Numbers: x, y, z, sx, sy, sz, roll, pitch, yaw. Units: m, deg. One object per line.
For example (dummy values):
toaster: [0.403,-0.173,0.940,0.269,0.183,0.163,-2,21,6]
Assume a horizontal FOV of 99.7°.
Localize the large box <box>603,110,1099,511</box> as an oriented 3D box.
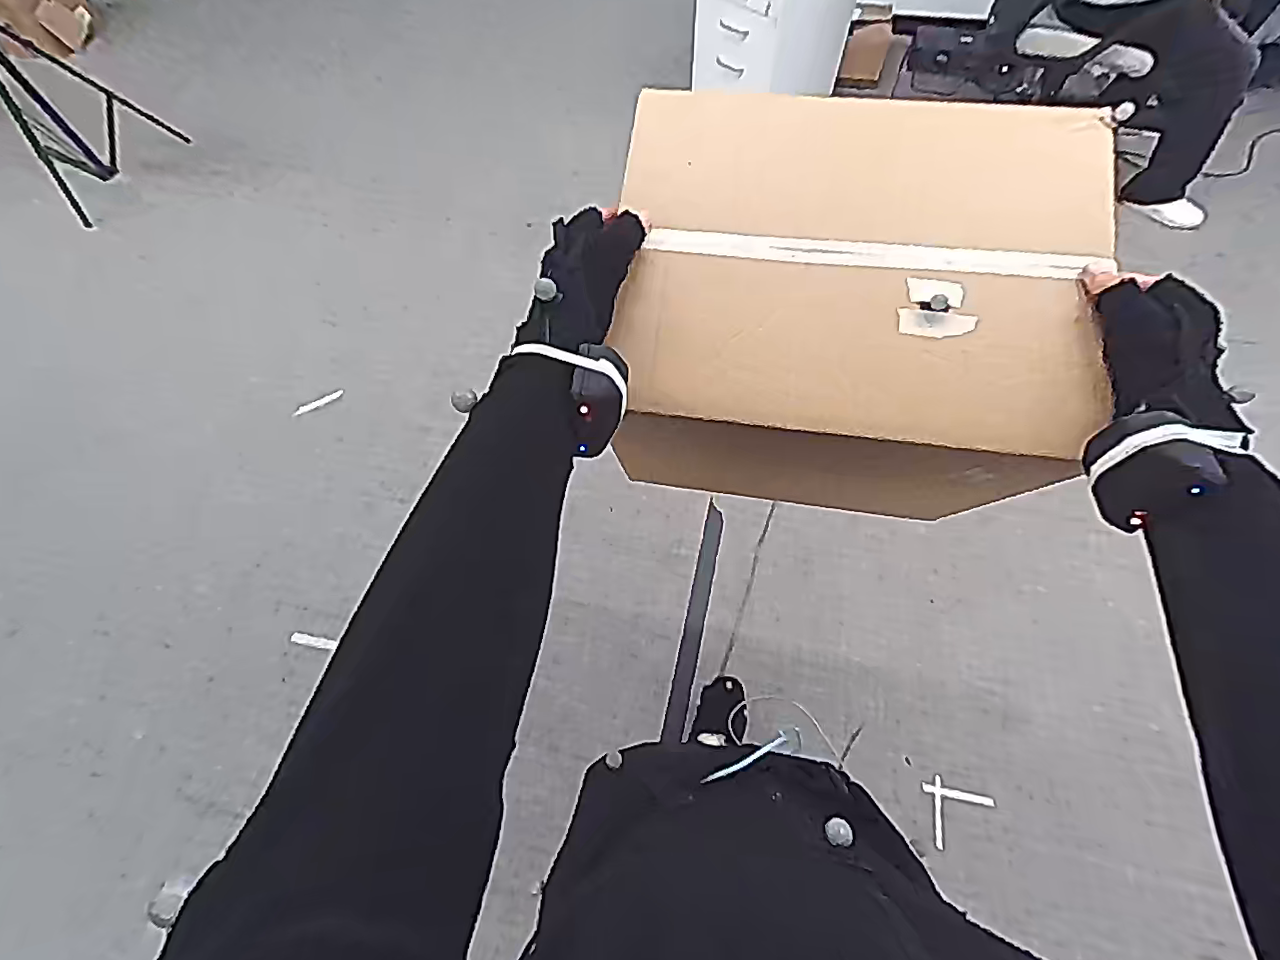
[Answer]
large box: [0.194,-0.157,0.615,0.408,0.320,0.320,7,80,7]
